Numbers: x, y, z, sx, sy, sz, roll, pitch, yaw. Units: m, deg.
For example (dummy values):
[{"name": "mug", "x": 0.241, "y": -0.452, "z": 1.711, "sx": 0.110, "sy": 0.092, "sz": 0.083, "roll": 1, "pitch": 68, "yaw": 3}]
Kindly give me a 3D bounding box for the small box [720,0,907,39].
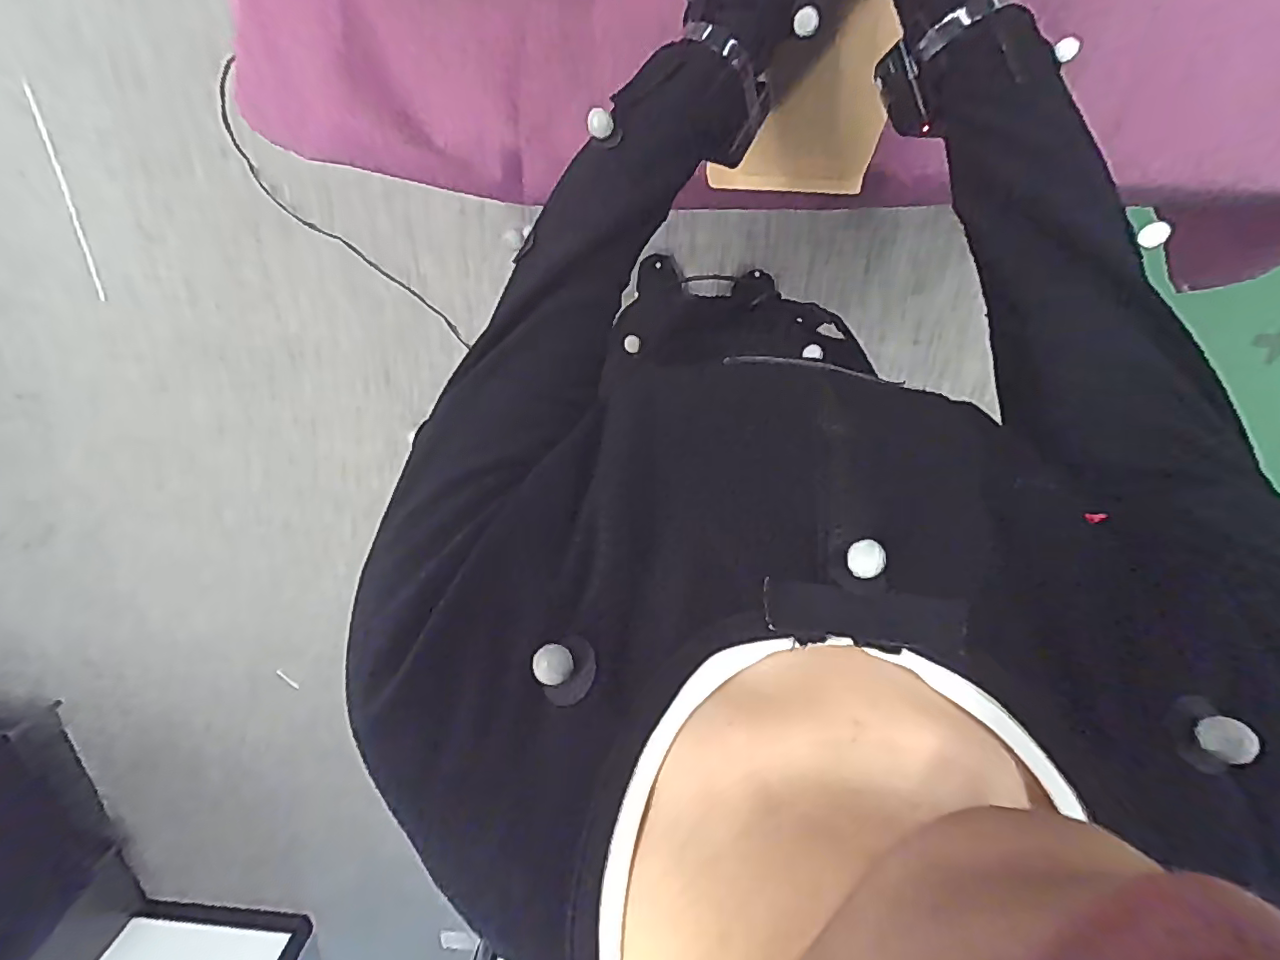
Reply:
[{"name": "small box", "x": 0.157, "y": -0.492, "z": 0.441, "sx": 0.168, "sy": 0.176, "sz": 0.179, "roll": 4, "pitch": 113, "yaw": 3}]
